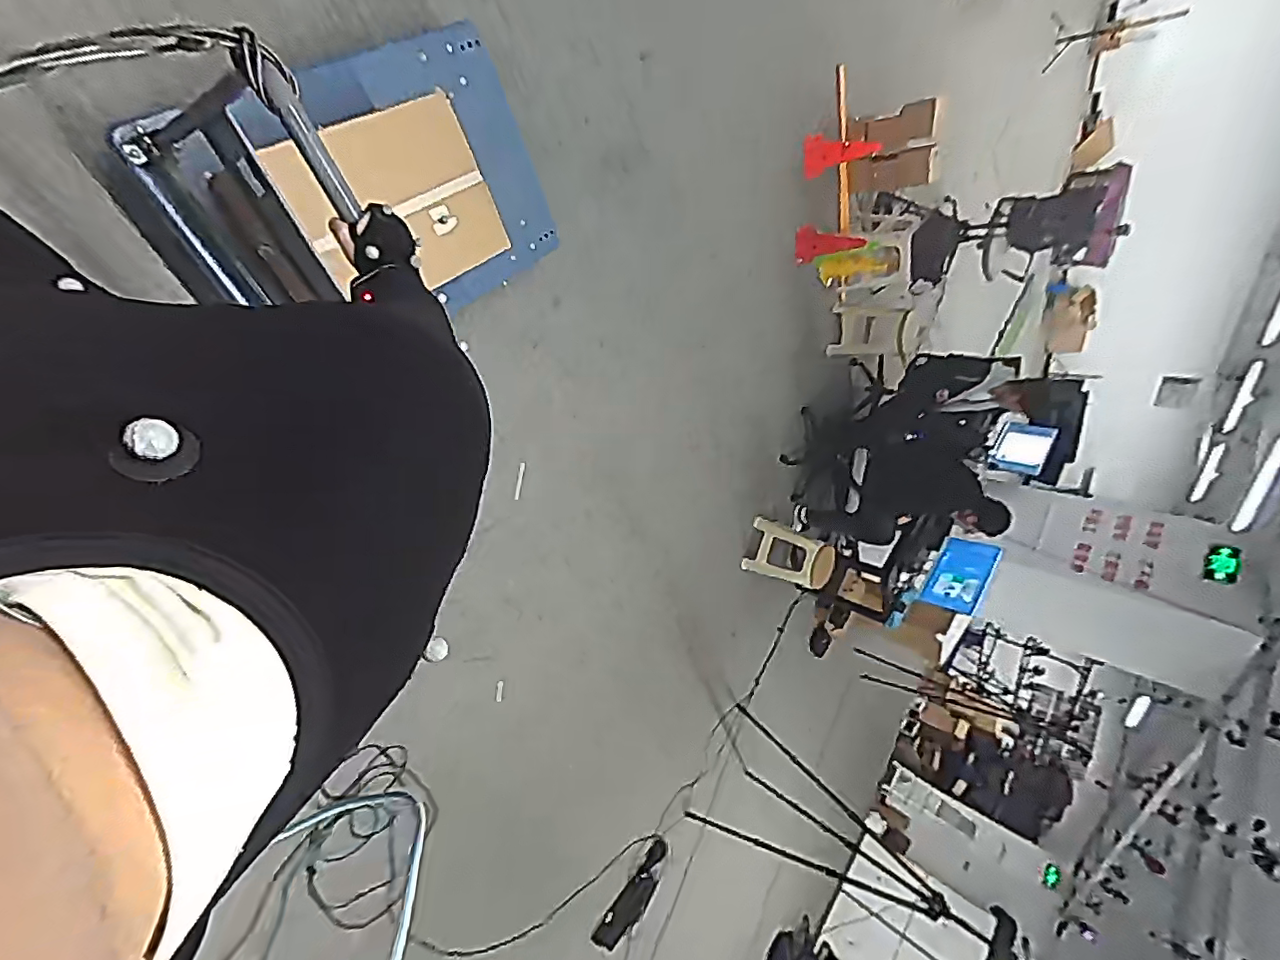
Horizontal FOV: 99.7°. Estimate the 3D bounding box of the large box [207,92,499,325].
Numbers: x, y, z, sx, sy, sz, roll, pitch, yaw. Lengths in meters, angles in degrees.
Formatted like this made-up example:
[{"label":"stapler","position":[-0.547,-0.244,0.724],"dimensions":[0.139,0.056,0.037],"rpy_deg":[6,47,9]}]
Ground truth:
[{"label":"large box","position":[-0.600,-0.568,1.168],"dimensions":[0.408,0.320,0.320],"rpy_deg":[-46,133,-30]}]
